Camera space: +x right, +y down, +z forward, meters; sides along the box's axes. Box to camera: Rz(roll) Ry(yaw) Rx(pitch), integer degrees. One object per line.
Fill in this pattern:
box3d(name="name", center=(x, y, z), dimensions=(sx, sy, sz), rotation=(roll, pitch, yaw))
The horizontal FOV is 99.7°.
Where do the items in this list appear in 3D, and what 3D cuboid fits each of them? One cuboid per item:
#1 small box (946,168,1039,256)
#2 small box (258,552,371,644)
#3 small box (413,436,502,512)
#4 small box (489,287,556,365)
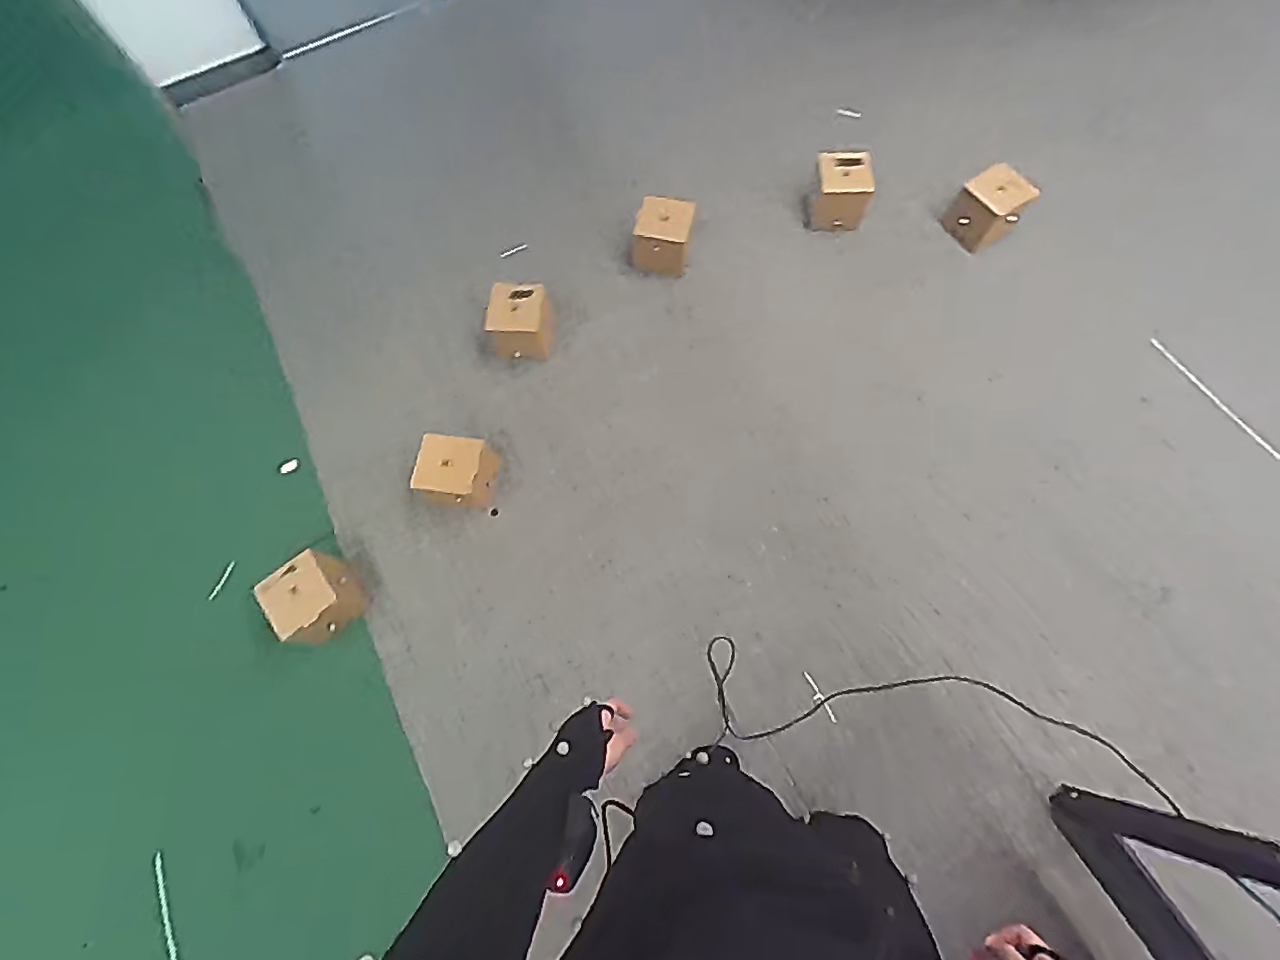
box3d(name="small box", center=(1.172, -0.895, 1.820), dimensions=(0.179, 0.176, 0.168), rotation=(-30, 72, -8))
box3d(name="small box", center=(-0.871, 0.323, 1.463), dimensions=(0.168, 0.176, 0.179), rotation=(-38, 73, -11))
box3d(name="small box", center=(-0.523, -0.013, 1.573), dimensions=(0.179, 0.176, 0.168), rotation=(7, 70, 4))
box3d(name="small box", center=(-0.371, -0.494, 1.742), dimensions=(0.168, 0.176, 0.179), rotation=(3, 71, 4))
